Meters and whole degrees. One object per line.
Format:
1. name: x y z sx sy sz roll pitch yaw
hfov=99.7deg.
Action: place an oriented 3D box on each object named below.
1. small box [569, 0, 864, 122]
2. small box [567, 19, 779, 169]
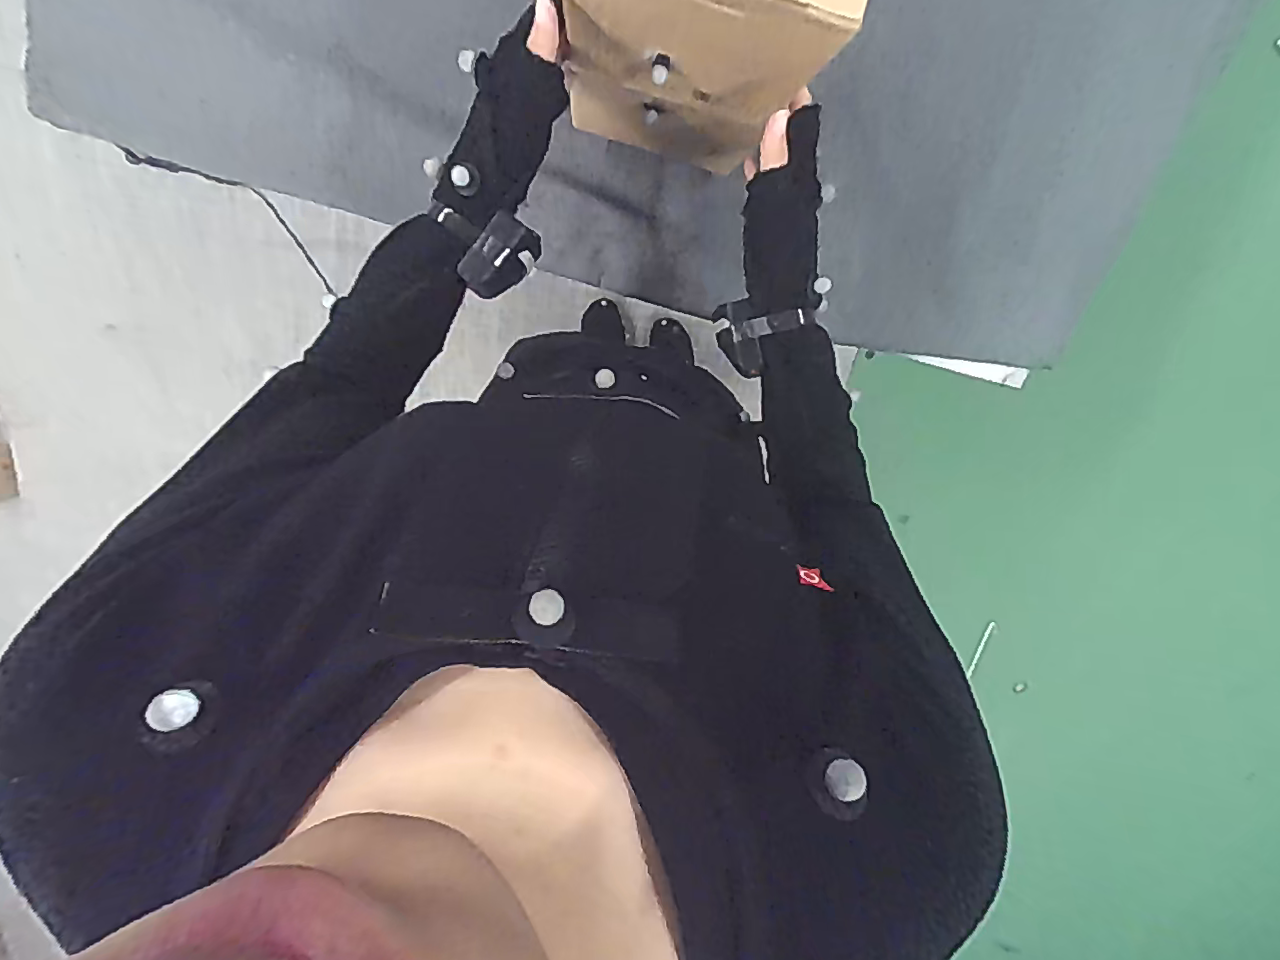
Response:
1. small box: 0.049 -0.361 0.330 0.168 0.176 0.179 11 107 -8
2. small box: 0.039 -0.407 0.486 0.179 0.176 0.168 13 106 -9
